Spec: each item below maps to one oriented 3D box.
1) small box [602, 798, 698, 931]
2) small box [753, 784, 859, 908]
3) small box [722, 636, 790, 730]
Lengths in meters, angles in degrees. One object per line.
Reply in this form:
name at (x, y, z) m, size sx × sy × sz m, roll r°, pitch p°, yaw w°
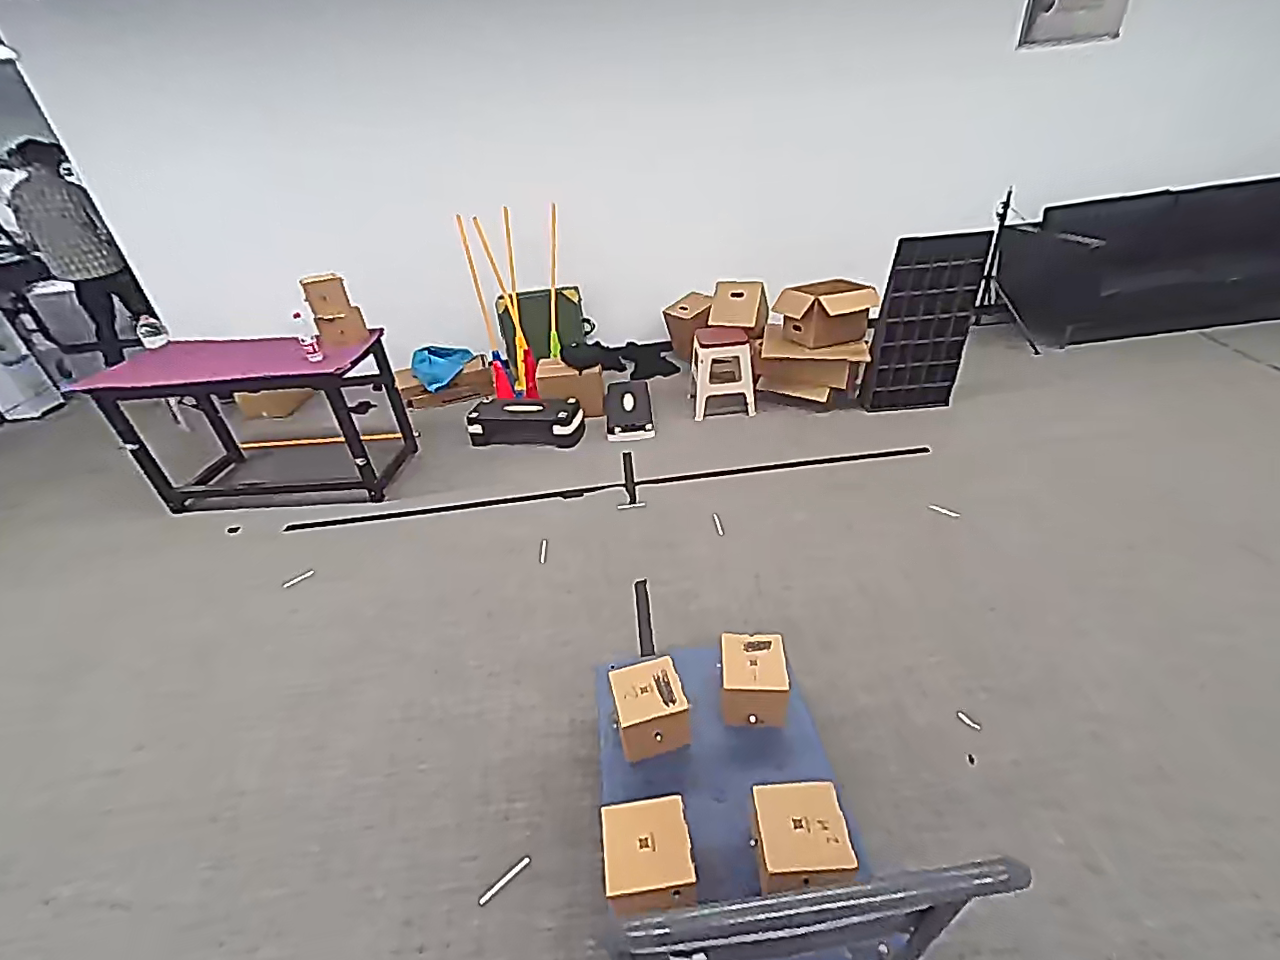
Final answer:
small box at (0.021, 0.803, 1.130) m, size 0.179 × 0.176 × 0.168 m, roll -7°, pitch 33°, yaw -4°
small box at (0.337, 0.769, 1.134) m, size 0.179 × 0.176 × 0.168 m, roll -4°, pitch 34°, yaw 2°
small box at (0.308, 0.548, 1.469) m, size 0.168 × 0.176 × 0.179 m, roll -1°, pitch 35°, yaw 7°
